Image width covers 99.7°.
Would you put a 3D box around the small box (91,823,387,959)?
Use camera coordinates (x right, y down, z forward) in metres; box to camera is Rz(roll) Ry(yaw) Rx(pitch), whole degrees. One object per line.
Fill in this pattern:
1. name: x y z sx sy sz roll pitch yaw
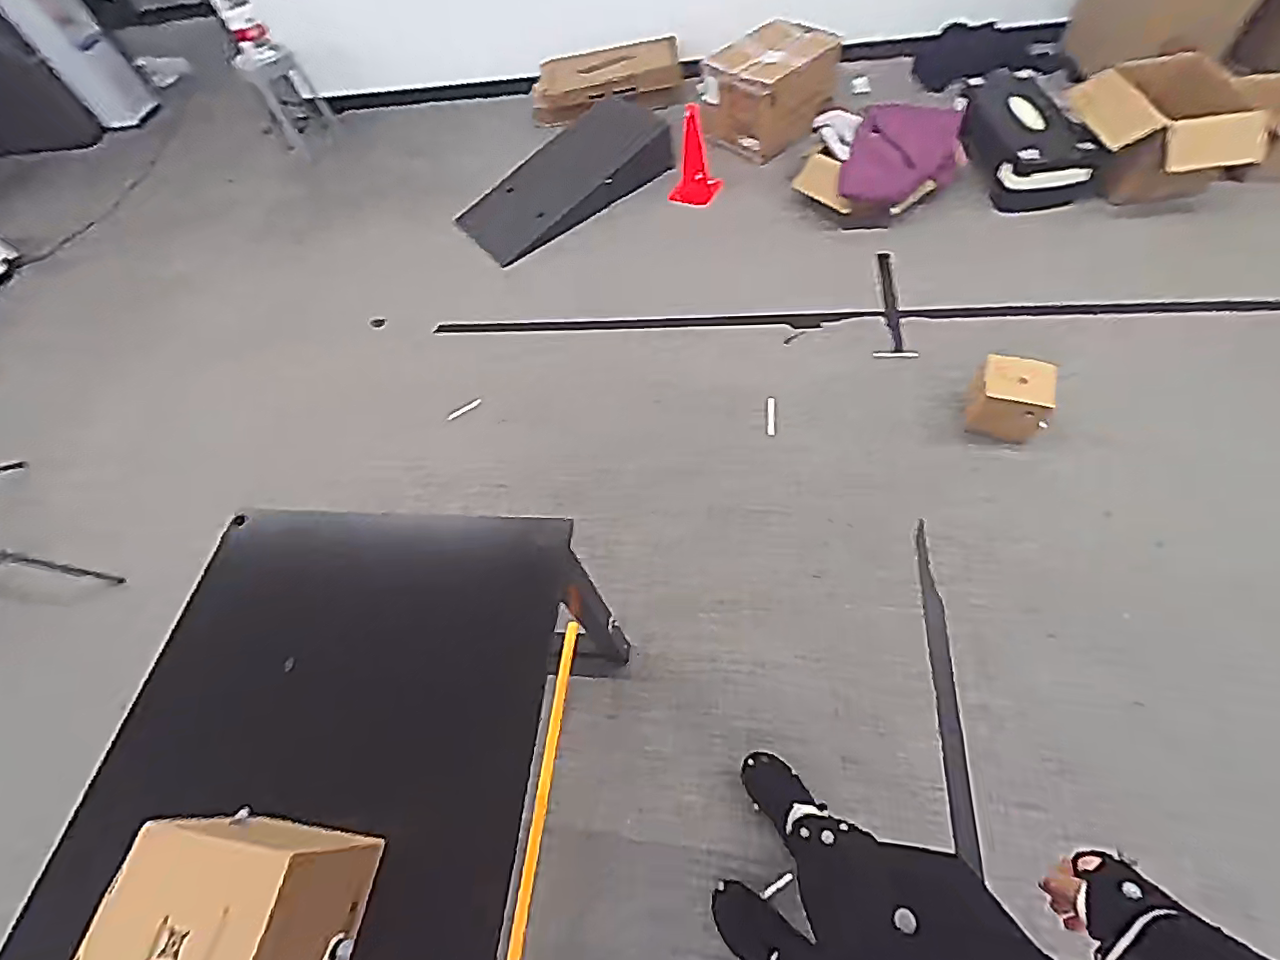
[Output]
1. small box: -0.407 0.464 0.561 0.179 0.176 0.168 2 61 9

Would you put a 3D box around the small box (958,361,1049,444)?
1. small box: 1.079 -0.226 1.610 0.179 0.176 0.168 14 62 16
